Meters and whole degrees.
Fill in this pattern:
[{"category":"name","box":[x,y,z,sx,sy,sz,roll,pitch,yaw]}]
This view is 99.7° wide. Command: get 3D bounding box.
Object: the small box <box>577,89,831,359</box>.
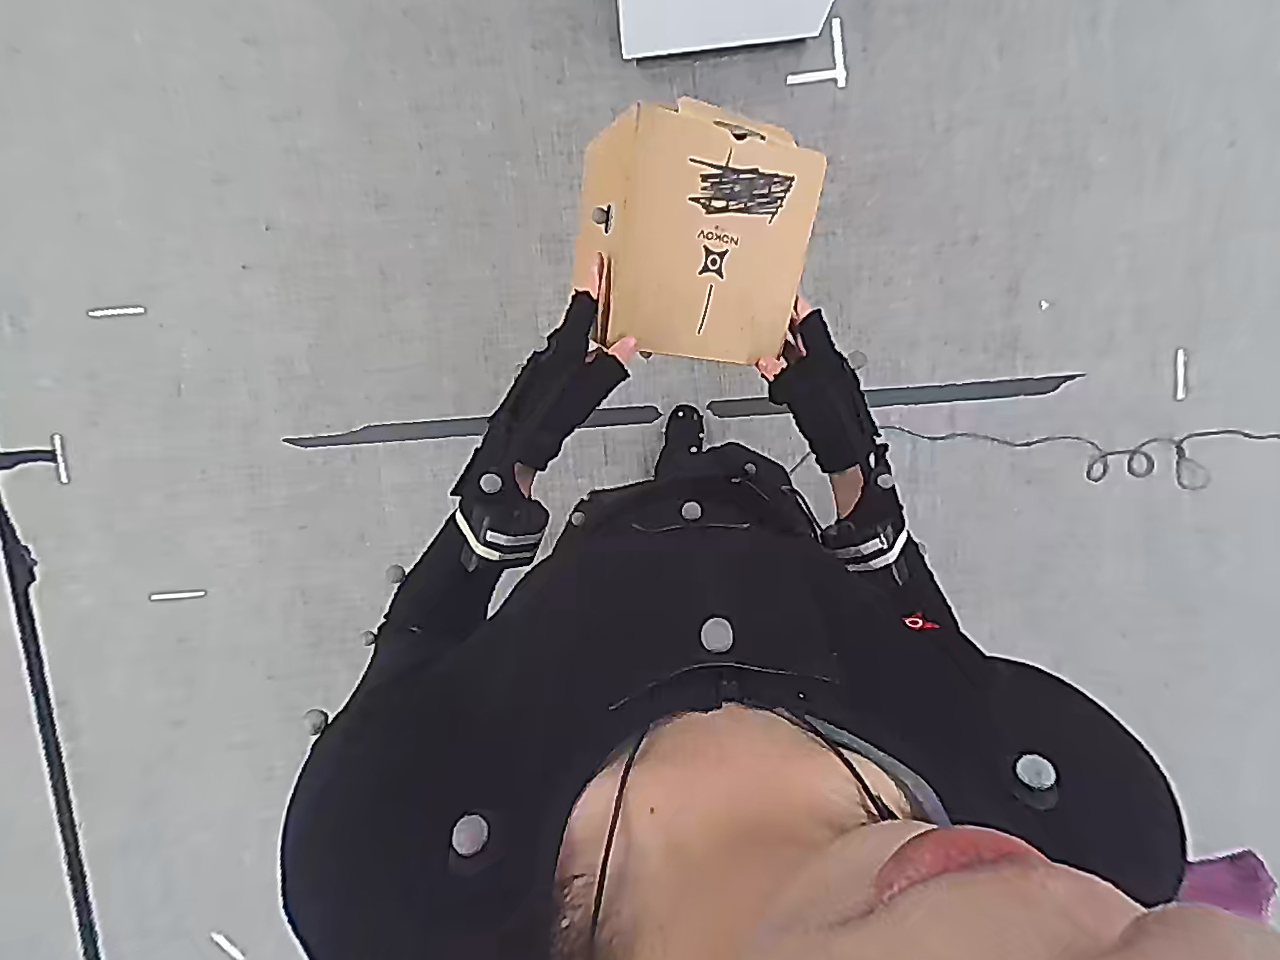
[{"category":"small box","box":[0.041,-0.220,0.503,0.168,0.176,0.179,2,111,-19]}]
